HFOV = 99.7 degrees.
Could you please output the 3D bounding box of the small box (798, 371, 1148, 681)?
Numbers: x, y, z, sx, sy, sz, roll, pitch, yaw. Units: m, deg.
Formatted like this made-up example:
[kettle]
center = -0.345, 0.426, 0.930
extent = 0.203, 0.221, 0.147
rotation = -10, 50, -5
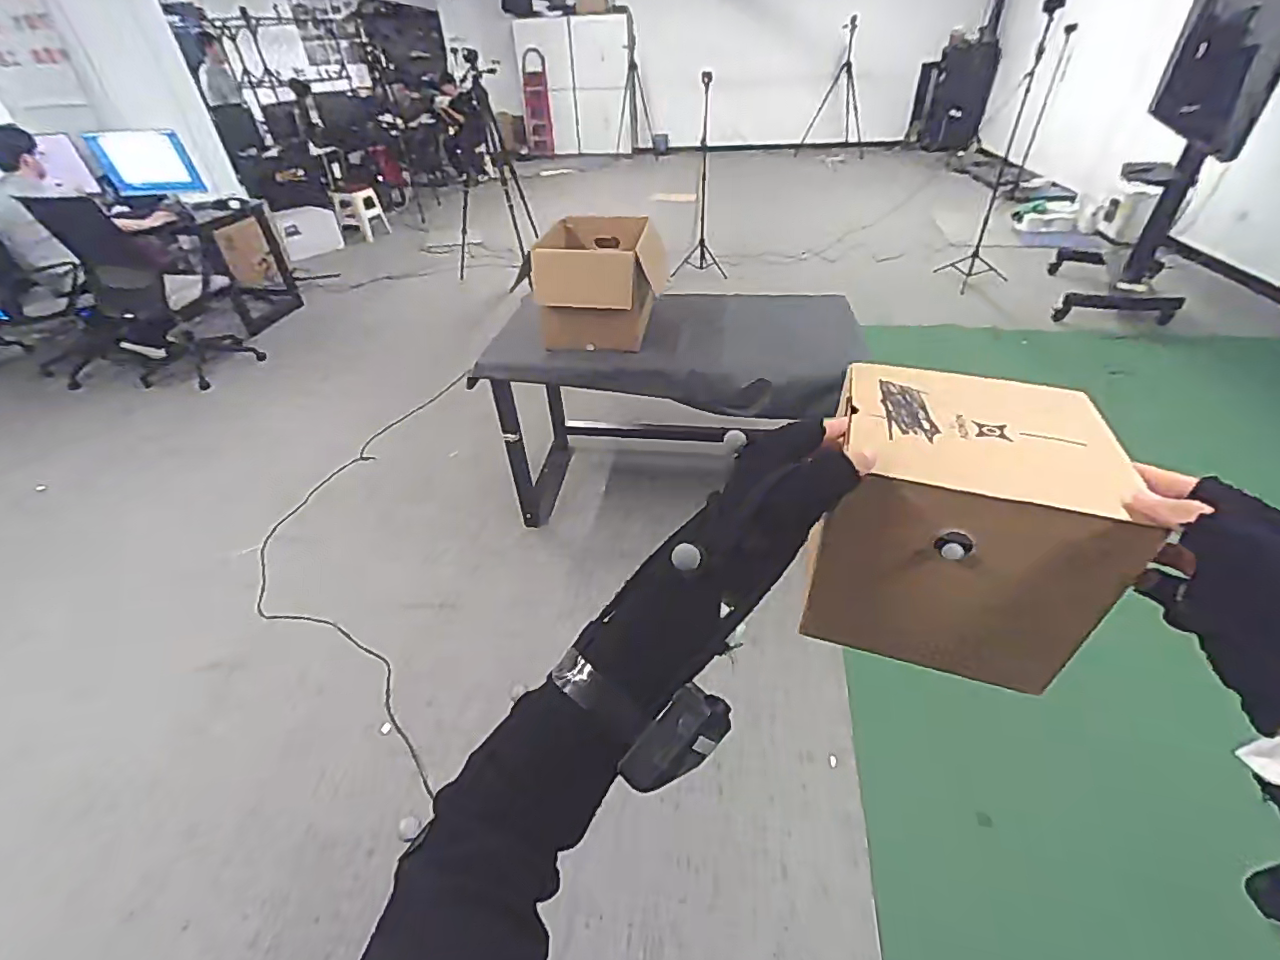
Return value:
[small box]
center = 0.232, 0.032, 0.435
extent = 0.179, 0.176, 0.168
rotation = 12, 39, 14
